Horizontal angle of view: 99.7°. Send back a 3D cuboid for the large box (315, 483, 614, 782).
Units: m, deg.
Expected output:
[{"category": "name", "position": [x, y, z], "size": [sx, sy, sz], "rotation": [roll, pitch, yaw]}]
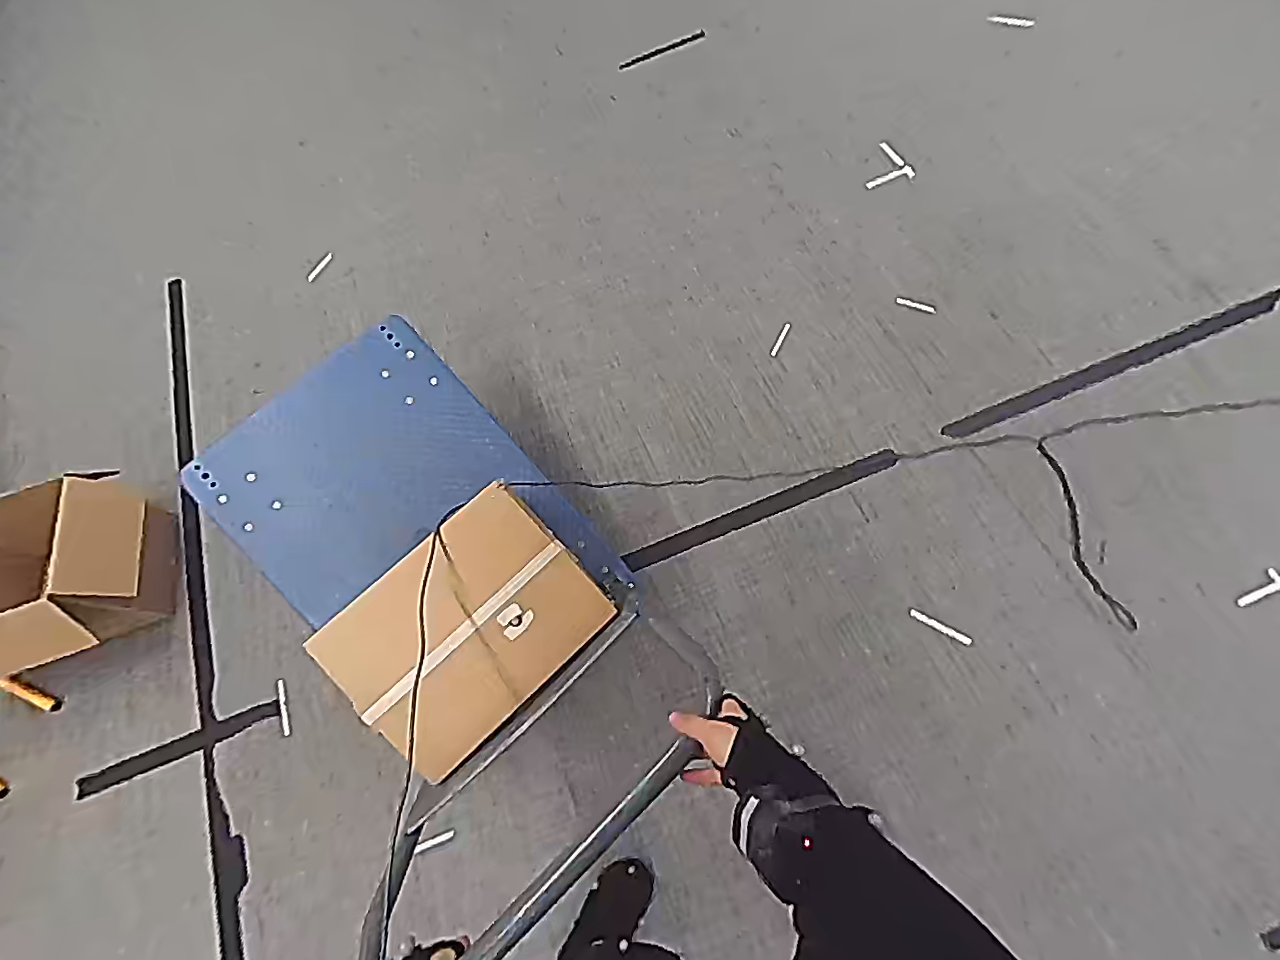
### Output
[{"category": "large box", "position": [-0.308, 0.267, 1.053], "size": [0.408, 0.320, 0.320], "rotation": [-43, 92, -11]}]
